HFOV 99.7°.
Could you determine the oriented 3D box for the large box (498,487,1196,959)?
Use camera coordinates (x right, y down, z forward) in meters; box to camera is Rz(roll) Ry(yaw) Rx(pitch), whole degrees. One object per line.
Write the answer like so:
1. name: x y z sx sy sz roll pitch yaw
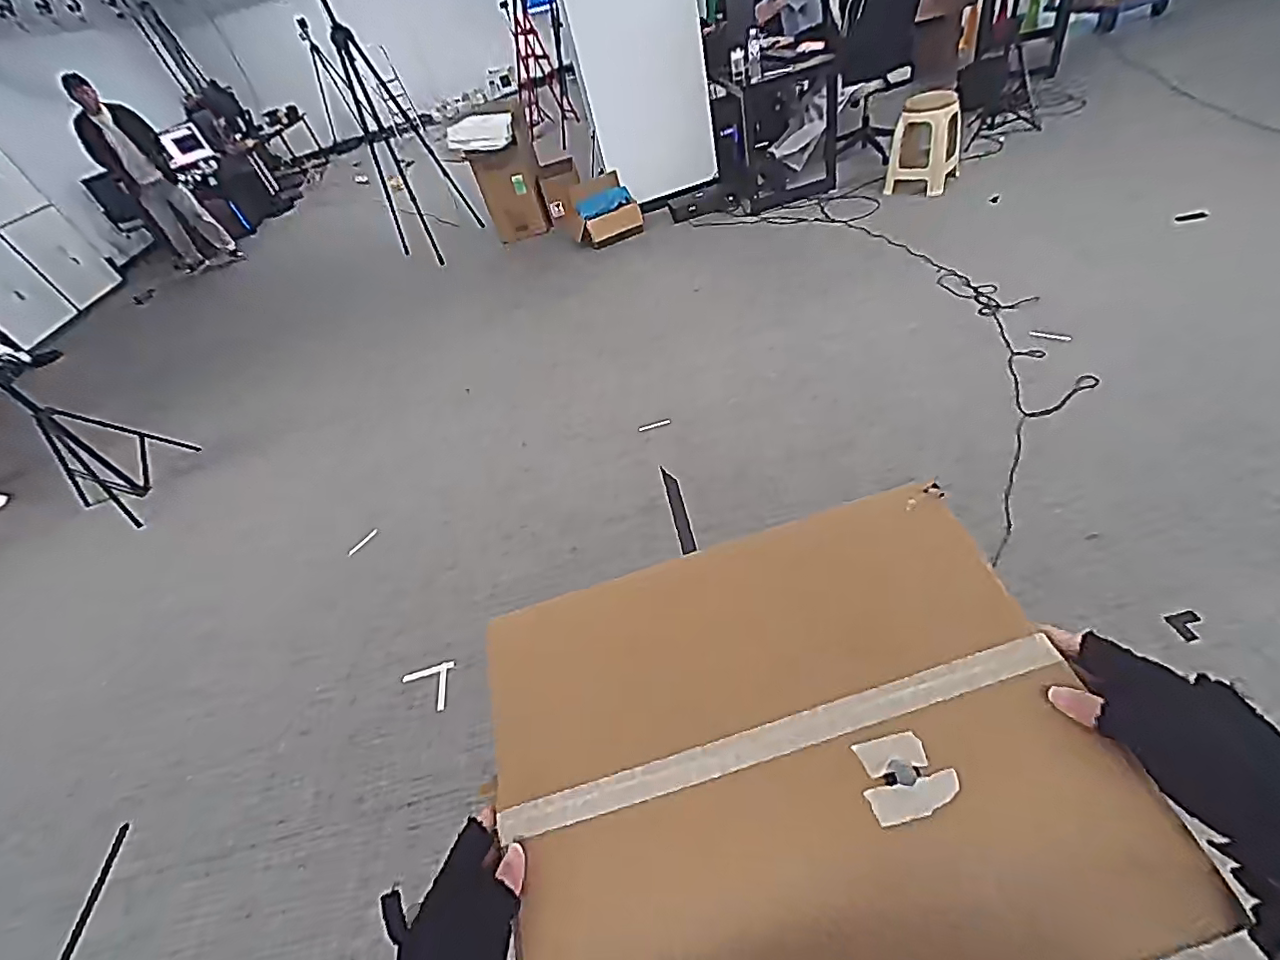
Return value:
1. large box: 0.123 0.268 0.517 0.408 0.320 0.320 -18 55 -1
